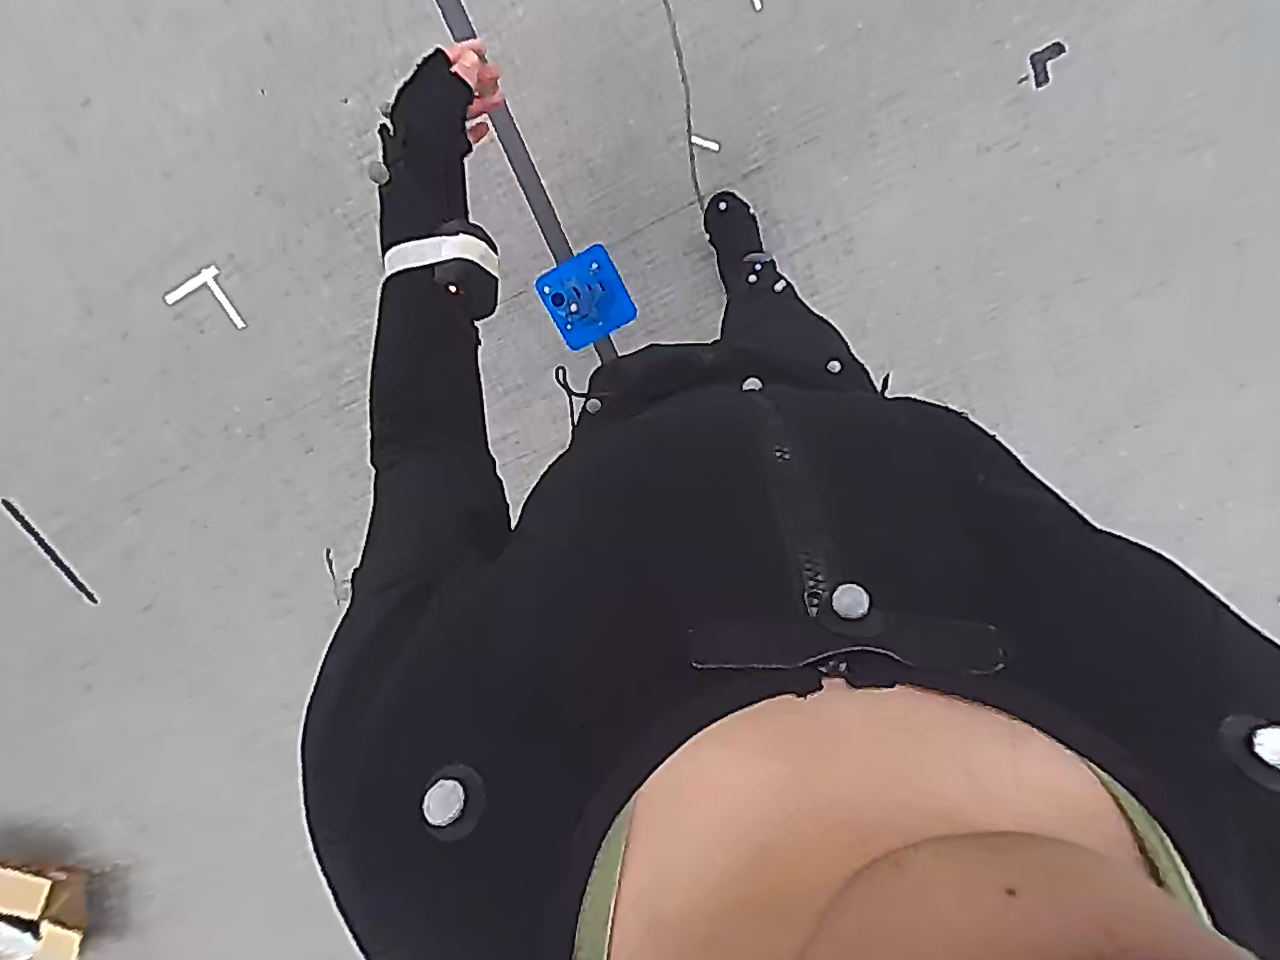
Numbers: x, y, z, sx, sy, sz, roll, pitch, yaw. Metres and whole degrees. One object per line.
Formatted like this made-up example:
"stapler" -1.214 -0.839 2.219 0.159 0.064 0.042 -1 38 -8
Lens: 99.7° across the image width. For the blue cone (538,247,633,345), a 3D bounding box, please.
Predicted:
"blue cone" -0.149 -0.397 1.175 0.192 0.380 0.193 -28 104 12
